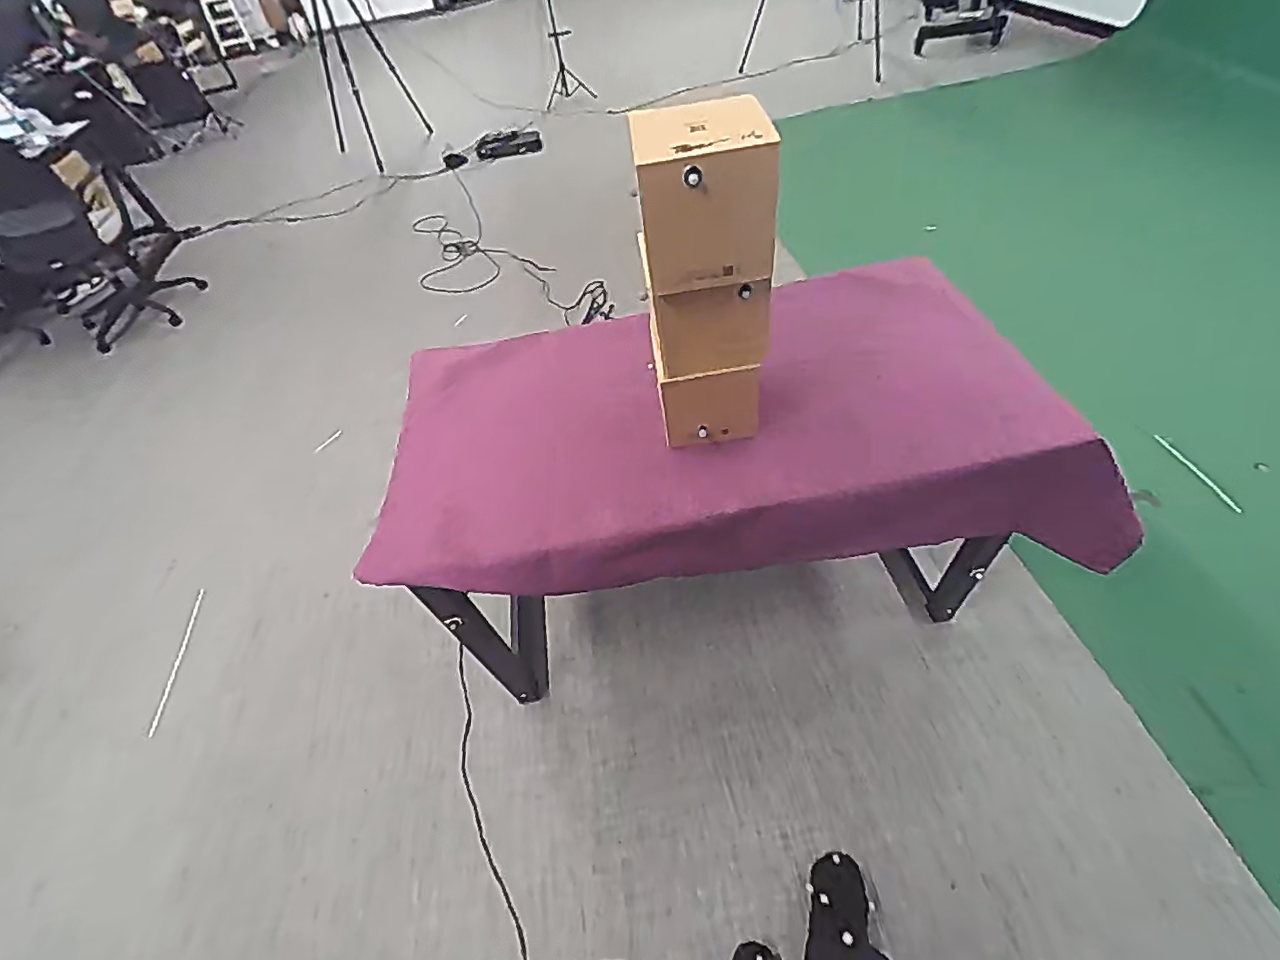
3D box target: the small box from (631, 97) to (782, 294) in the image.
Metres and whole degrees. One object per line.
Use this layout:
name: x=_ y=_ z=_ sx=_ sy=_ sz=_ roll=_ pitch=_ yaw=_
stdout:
small box: x=0.082 y=-0.371 z=0.711 sx=0.168 sy=0.176 sz=0.179 roll=-8 pitch=49 yaw=4

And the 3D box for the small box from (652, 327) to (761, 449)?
small box: x=0.116 y=-0.182 z=0.975 sx=0.168 sy=0.176 sz=0.179 roll=-9 pitch=51 yaw=4

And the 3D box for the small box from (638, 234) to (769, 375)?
small box: x=0.101 y=-0.286 z=0.851 sx=0.179 sy=0.176 sz=0.168 roll=-10 pitch=50 yaw=2
